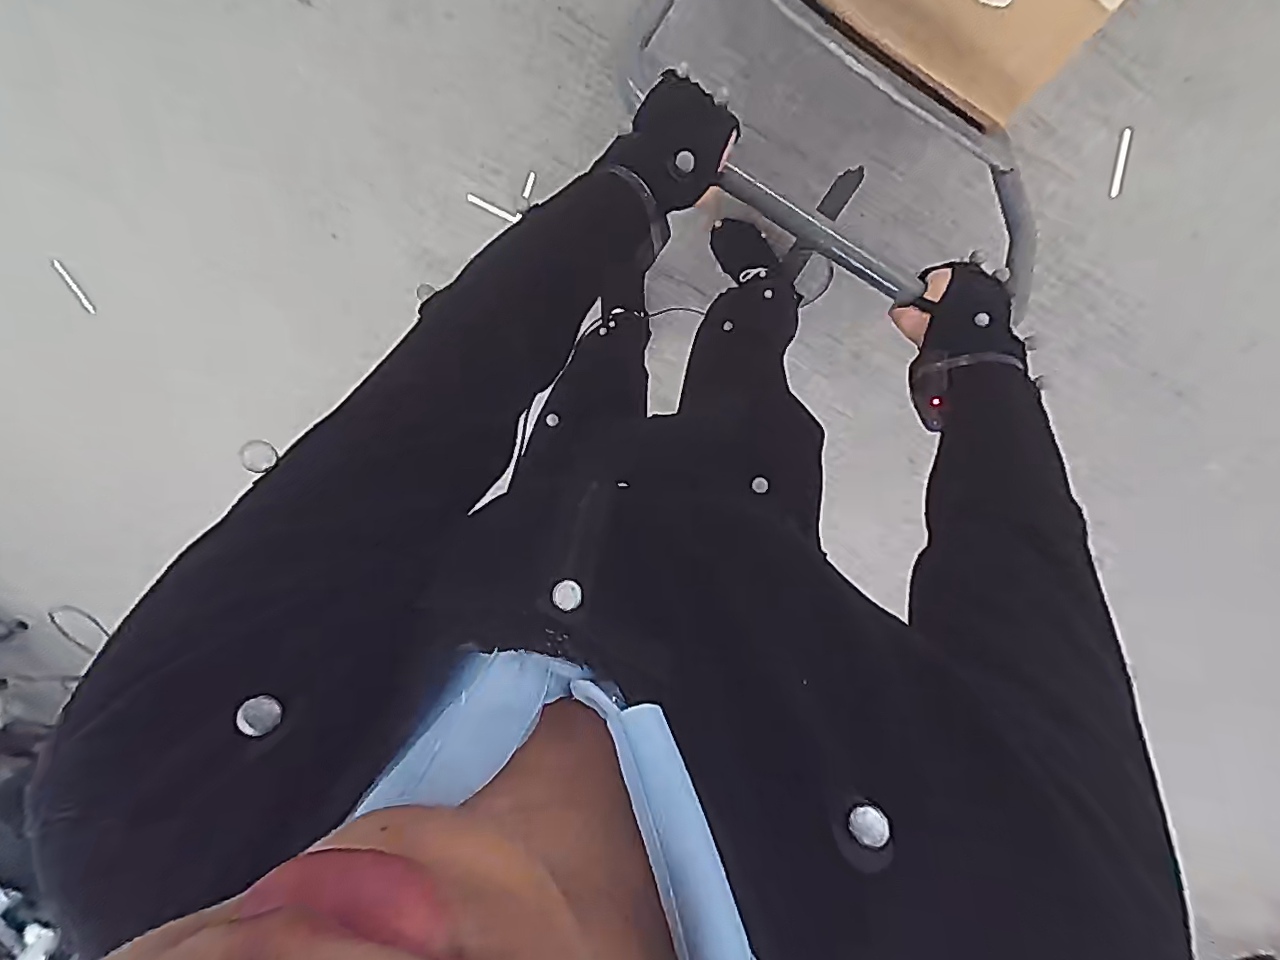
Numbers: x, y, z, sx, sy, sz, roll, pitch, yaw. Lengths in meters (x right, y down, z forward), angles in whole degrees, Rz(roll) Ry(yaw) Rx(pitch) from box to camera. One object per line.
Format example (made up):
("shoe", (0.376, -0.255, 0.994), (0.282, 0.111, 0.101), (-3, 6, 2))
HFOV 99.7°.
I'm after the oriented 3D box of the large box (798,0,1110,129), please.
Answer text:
("large box", (0.405, -0.754, 0.692), (0.408, 0.320, 0.320), (26, 141, -12))
